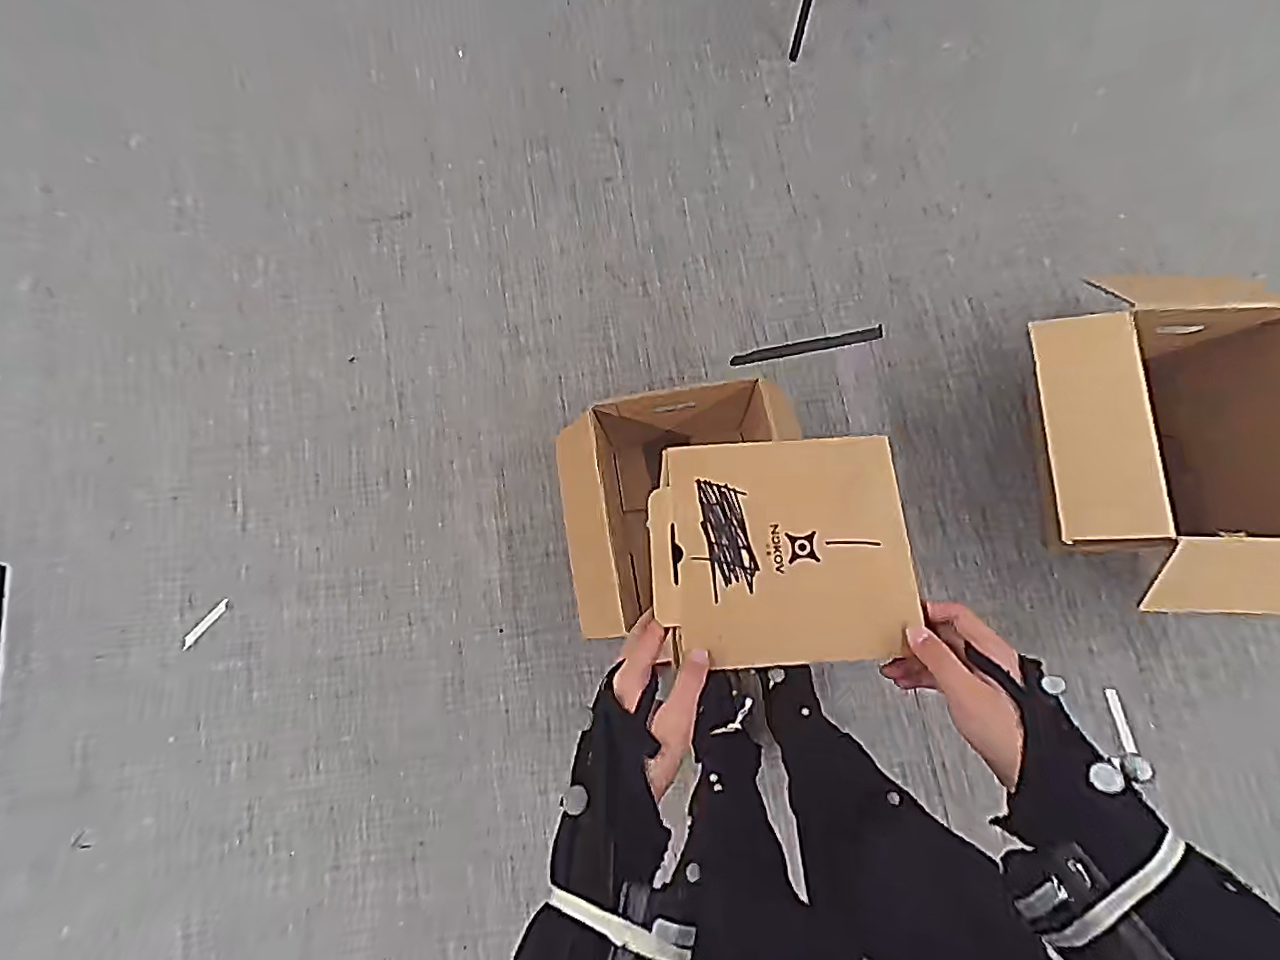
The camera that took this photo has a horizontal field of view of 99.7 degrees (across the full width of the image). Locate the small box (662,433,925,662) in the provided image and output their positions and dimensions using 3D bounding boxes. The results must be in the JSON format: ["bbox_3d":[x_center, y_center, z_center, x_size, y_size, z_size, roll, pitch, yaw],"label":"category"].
[{"bbox_3d":[0.110,0.069,0.474,0.179,0.176,0.168,-3,74,-1],"label":"small box"}]
